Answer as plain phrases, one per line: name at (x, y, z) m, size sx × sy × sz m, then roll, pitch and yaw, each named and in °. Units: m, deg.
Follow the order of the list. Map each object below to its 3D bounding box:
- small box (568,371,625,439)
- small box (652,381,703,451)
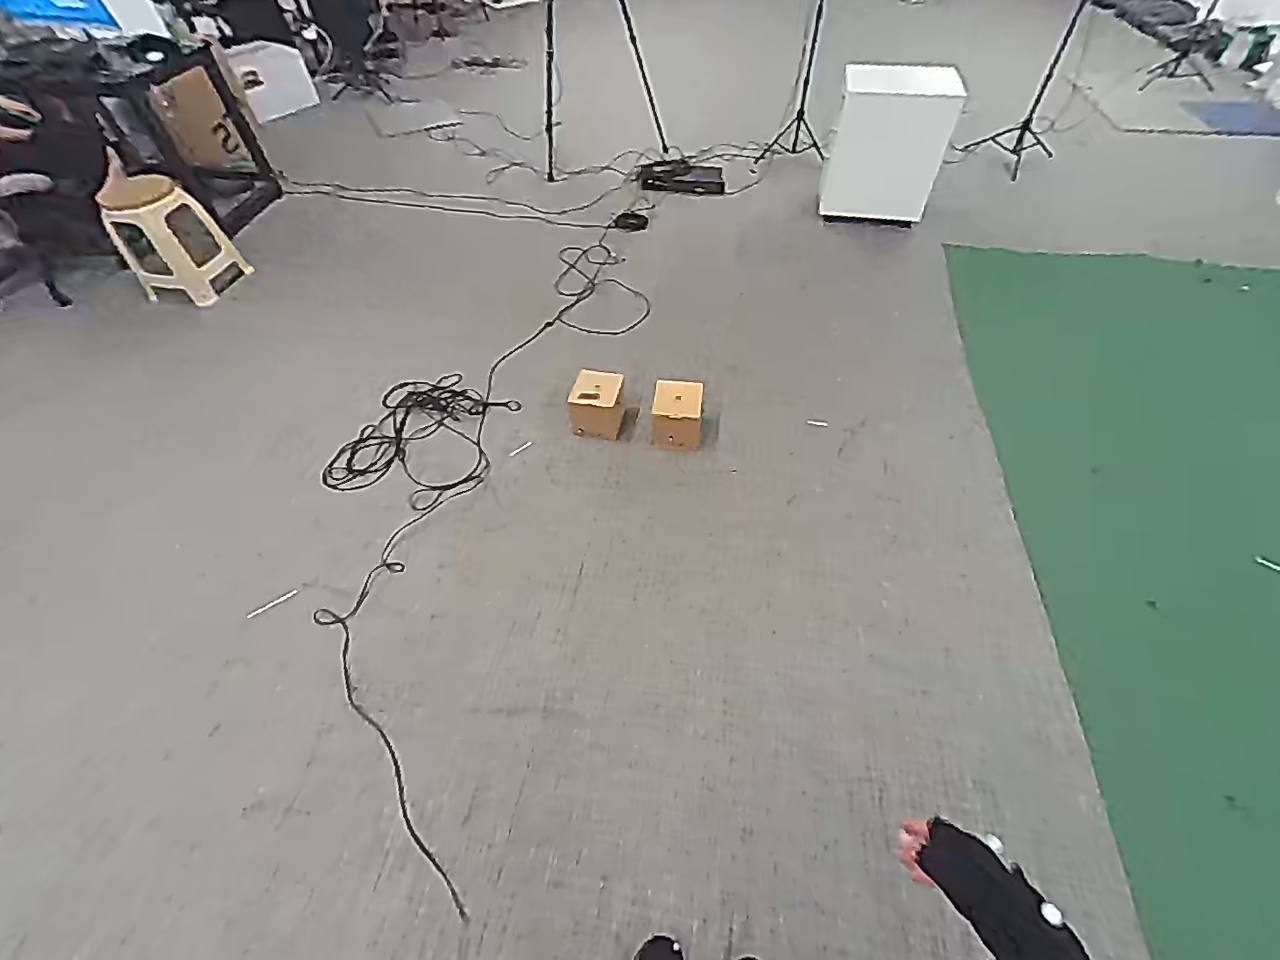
small box at (-0.153, -0.272, 1.982) m, size 0.168 × 0.176 × 0.179 m, roll 9°, pitch 52°, yaw 9°
small box at (0.132, -0.230, 1.942) m, size 0.168 × 0.176 × 0.179 m, roll 5°, pitch 53°, yaw 6°
